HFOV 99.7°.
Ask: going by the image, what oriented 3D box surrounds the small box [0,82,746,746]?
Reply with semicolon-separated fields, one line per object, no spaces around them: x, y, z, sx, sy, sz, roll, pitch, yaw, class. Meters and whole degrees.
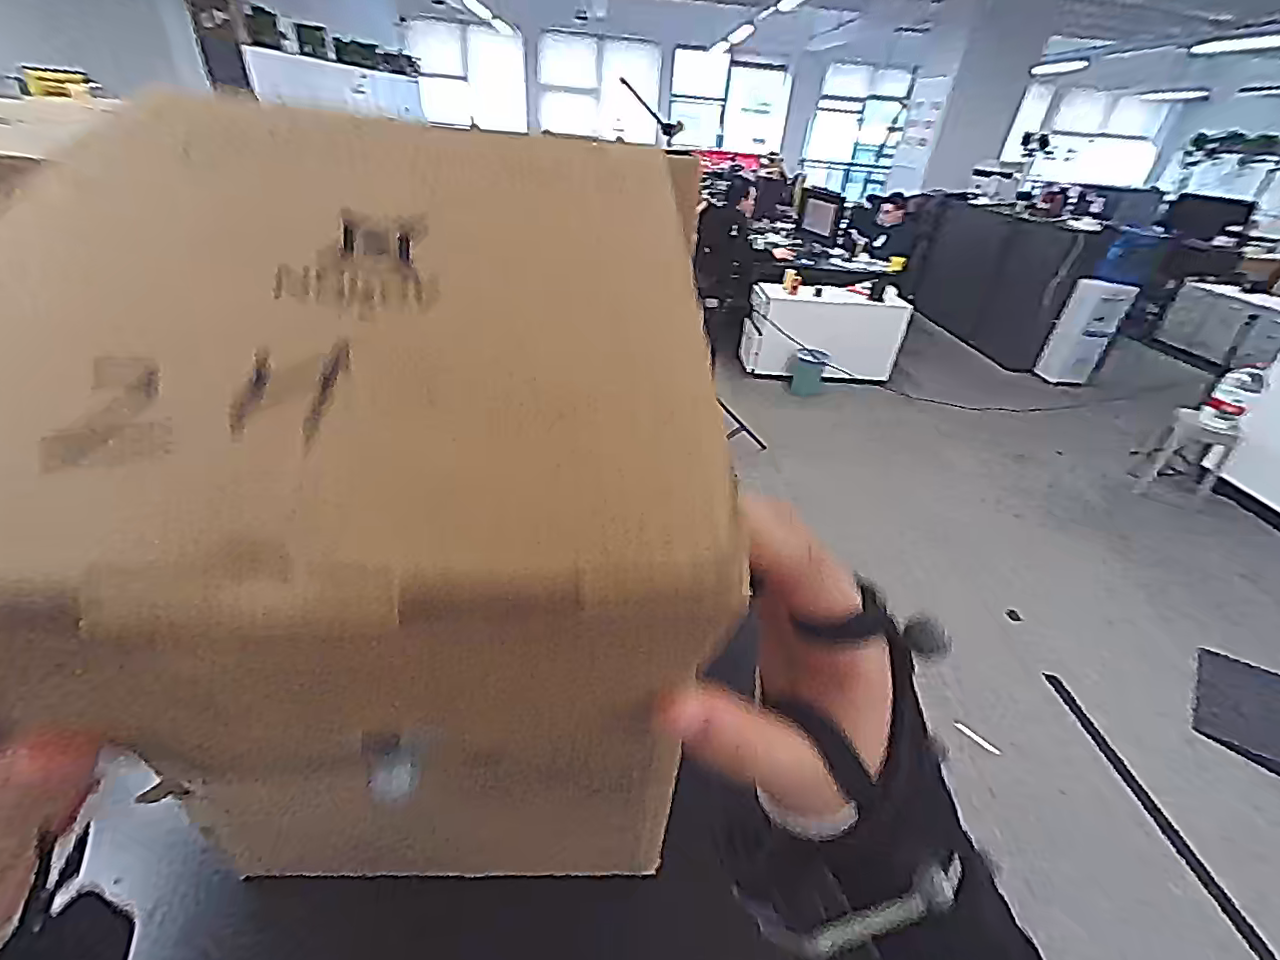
-0.074;-0.013;0.205;0.168;0.176;0.179;0;55;-7;small box
